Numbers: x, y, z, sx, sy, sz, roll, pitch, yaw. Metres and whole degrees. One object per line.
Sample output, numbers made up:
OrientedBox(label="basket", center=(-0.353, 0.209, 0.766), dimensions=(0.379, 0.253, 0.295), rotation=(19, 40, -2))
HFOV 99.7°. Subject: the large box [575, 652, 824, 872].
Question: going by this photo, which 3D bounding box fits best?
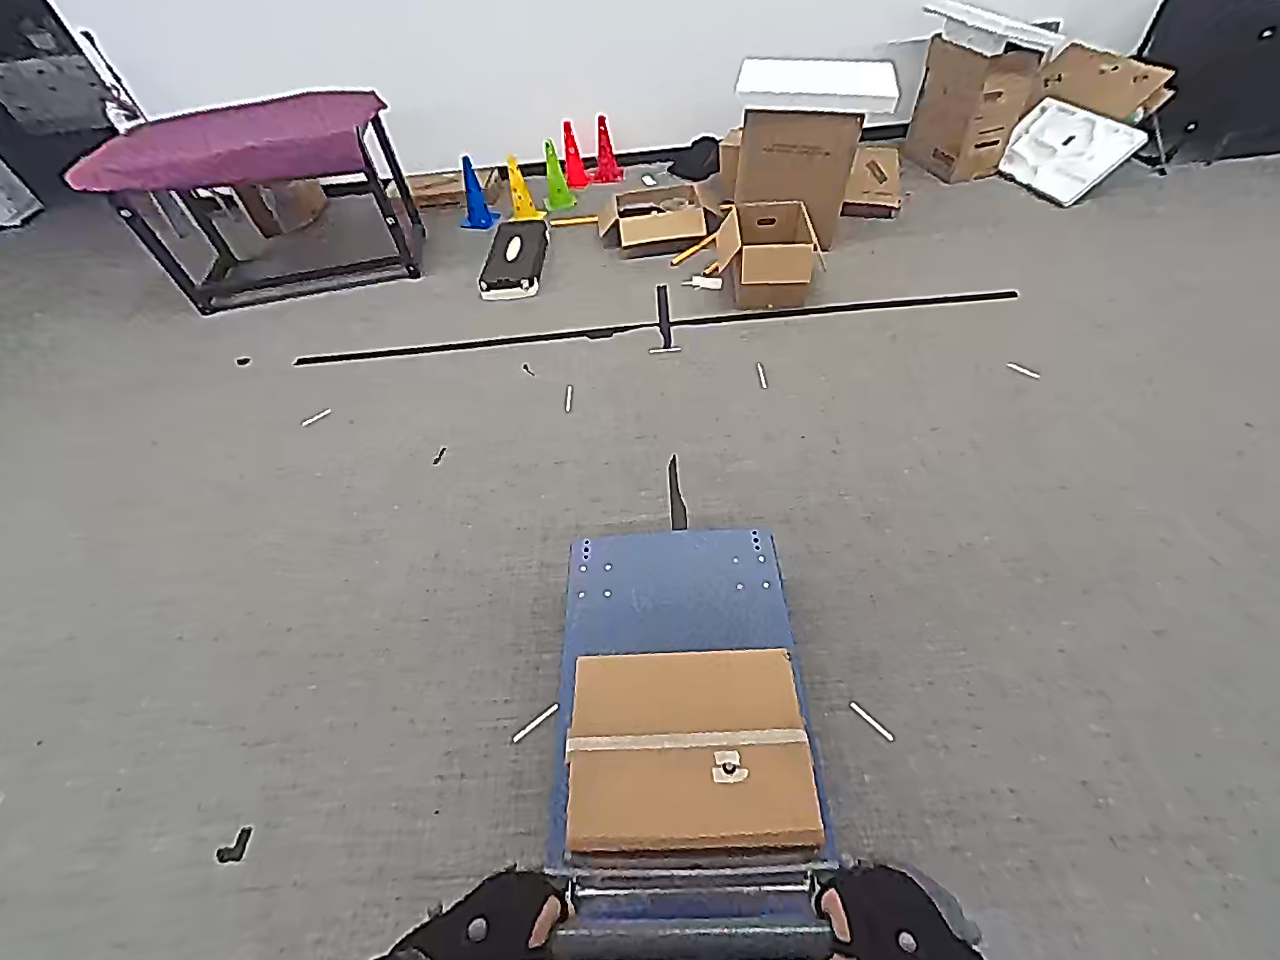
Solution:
OrientedBox(label="large box", center=(0.094, 0.555, 1.057), dimensions=(0.408, 0.320, 0.320), rotation=(-3, 51, 2))
